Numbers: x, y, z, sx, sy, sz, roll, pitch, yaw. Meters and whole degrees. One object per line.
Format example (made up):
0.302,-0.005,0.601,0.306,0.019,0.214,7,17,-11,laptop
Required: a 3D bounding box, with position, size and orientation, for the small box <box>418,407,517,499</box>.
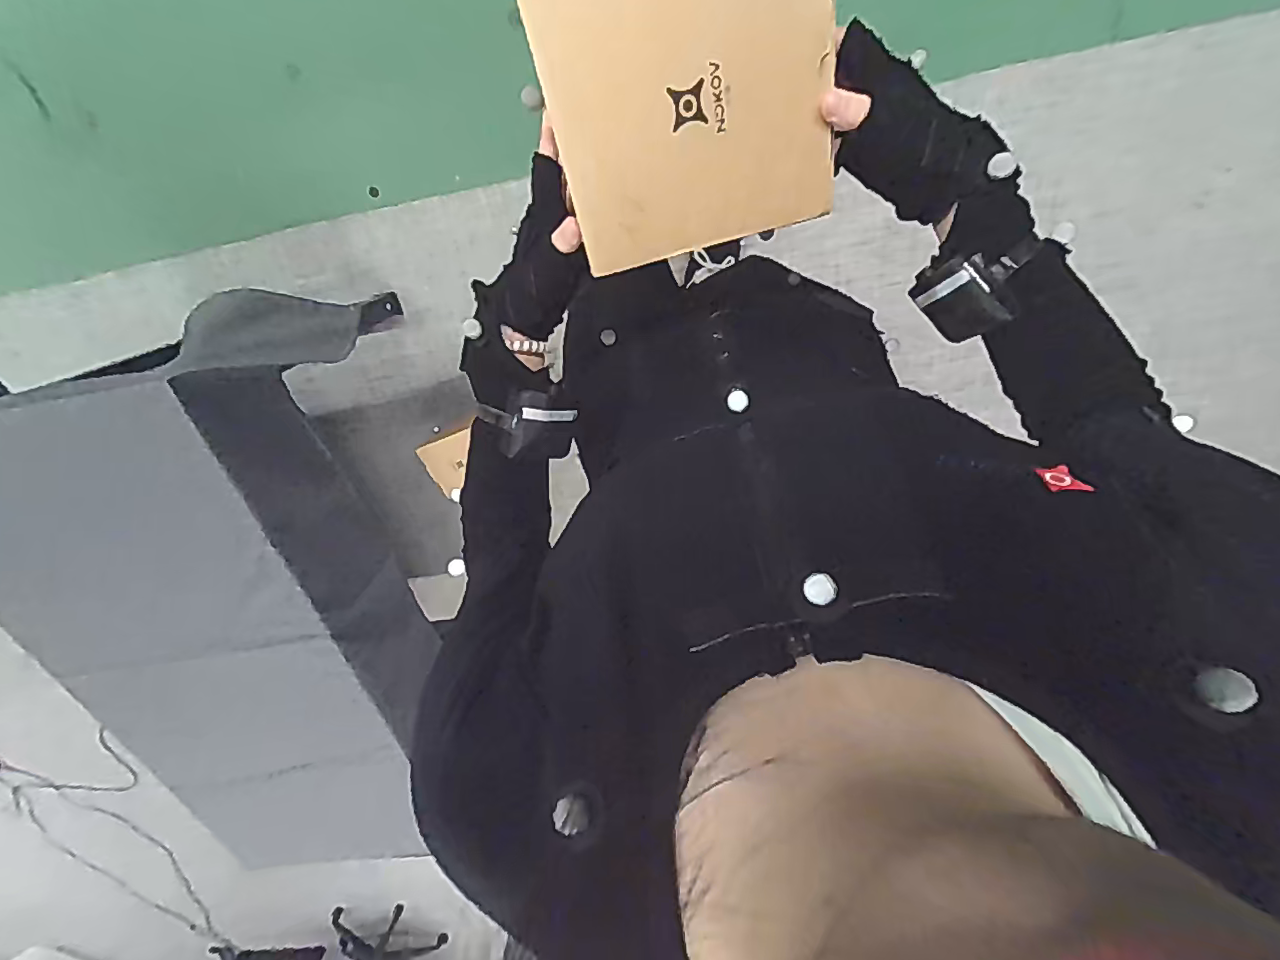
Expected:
-0.468,-0.077,1.494,0.179,0.176,0.168,-19,117,14,small box
